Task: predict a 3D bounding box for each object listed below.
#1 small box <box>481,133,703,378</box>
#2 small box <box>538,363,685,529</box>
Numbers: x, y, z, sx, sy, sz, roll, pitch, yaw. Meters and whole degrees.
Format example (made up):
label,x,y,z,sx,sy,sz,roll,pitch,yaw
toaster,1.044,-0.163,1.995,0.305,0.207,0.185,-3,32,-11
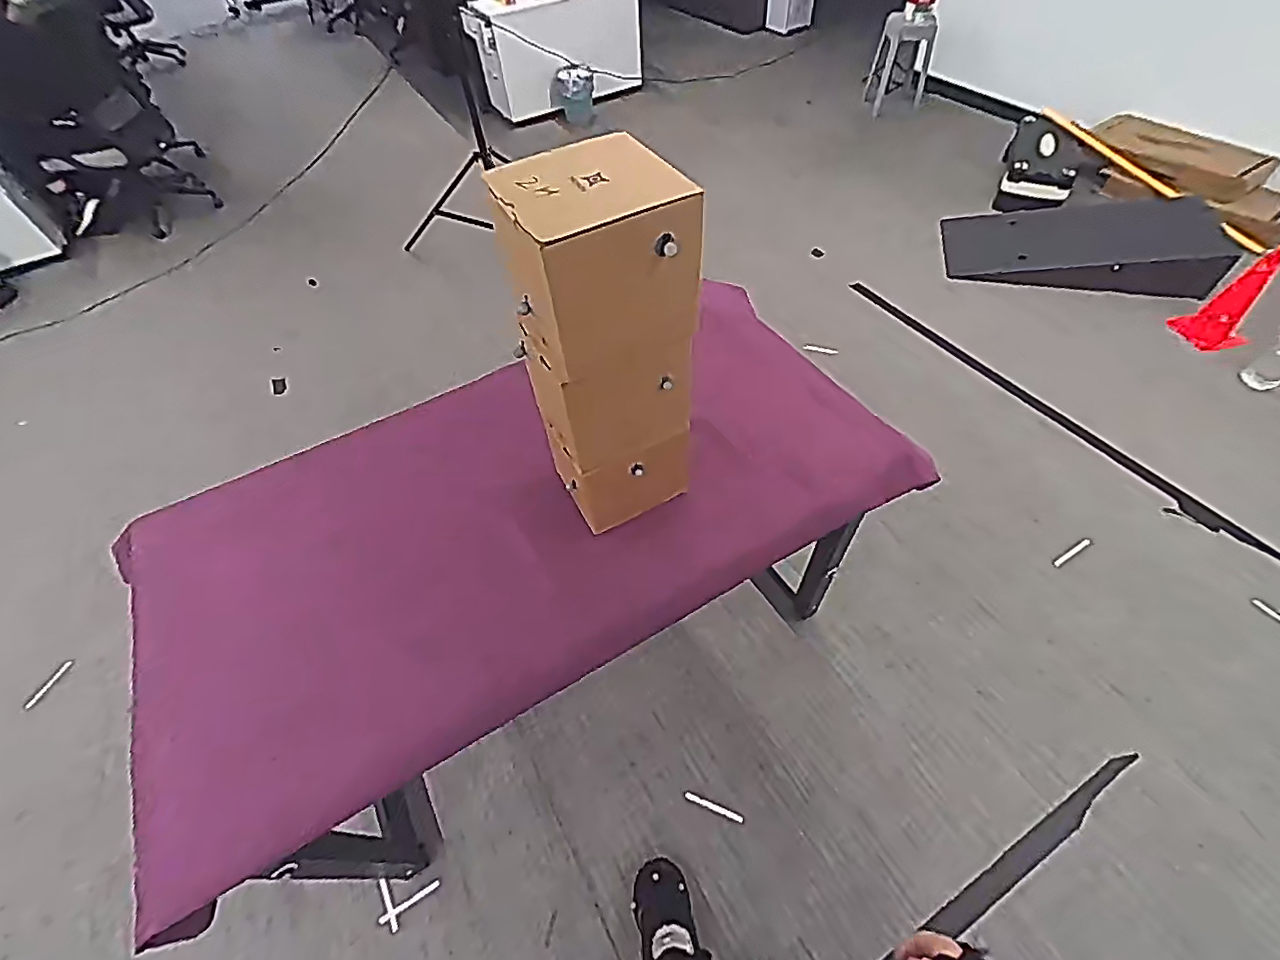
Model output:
label,x,y,z,sx,sy,sz,roll,pitch,yaw
small box,-0.049,-0.247,0.604,0.179,0.176,0.168,-26,56,-14
small box,-0.040,-0.049,0.867,0.179,0.176,0.168,-25,56,-15
